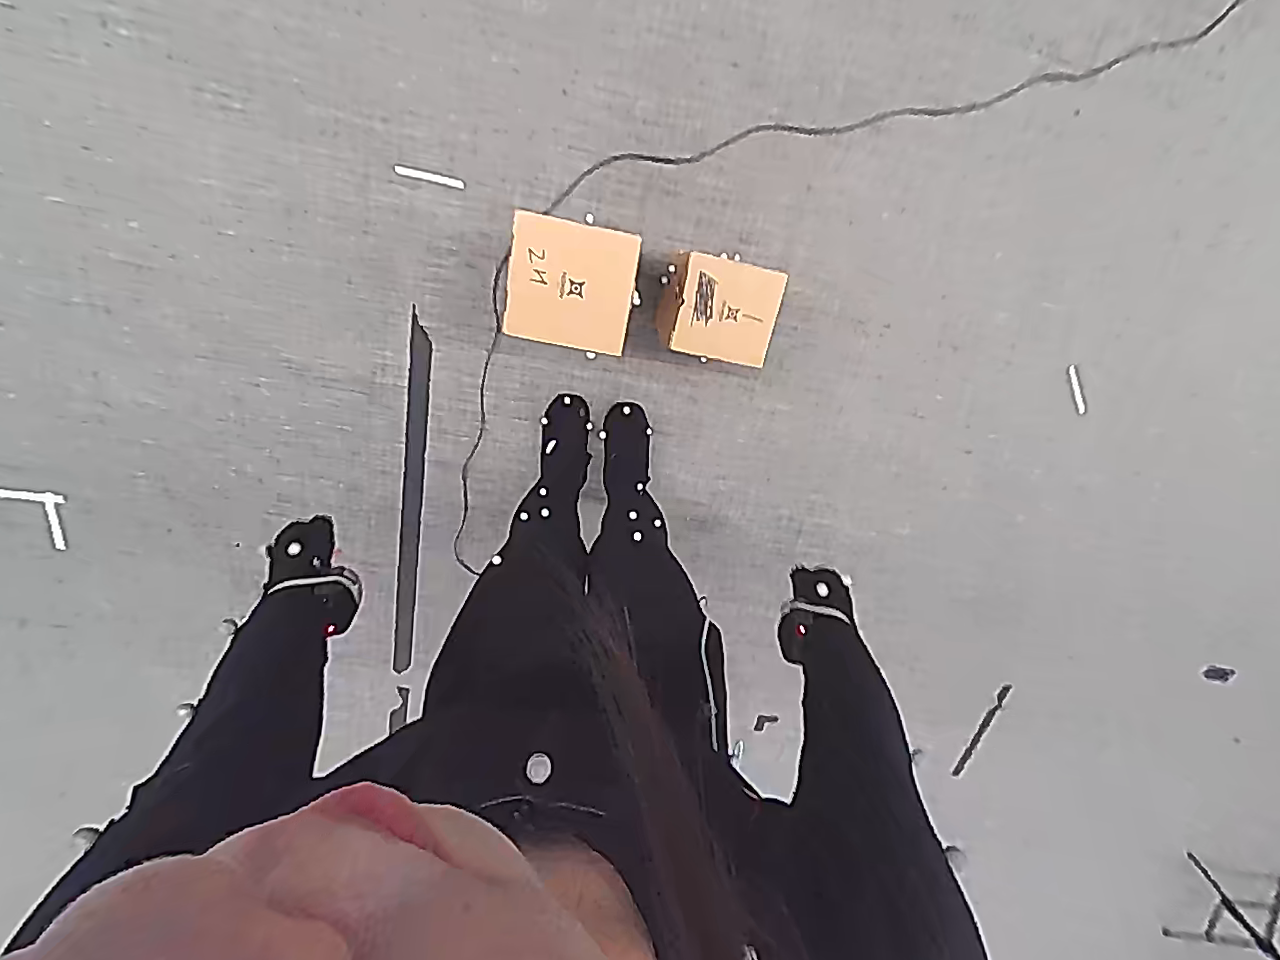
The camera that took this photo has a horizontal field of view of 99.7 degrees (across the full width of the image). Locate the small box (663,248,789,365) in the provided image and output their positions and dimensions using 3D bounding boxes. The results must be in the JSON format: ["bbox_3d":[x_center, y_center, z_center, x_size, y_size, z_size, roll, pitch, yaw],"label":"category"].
[{"bbox_3d":[0.148,-0.325,1.012,0.179,0.176,0.168,10,111,-9],"label":"small box"}]

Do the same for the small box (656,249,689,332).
[{"bbox_3d":[0.139,-0.387,1.164,0.179,0.176,0.168,11,110,-8],"label":"small box"}]

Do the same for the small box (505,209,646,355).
[{"bbox_3d":[-0.095,-0.302,0.829,0.179,0.176,0.168,10,110,-5],"label":"small box"}]
